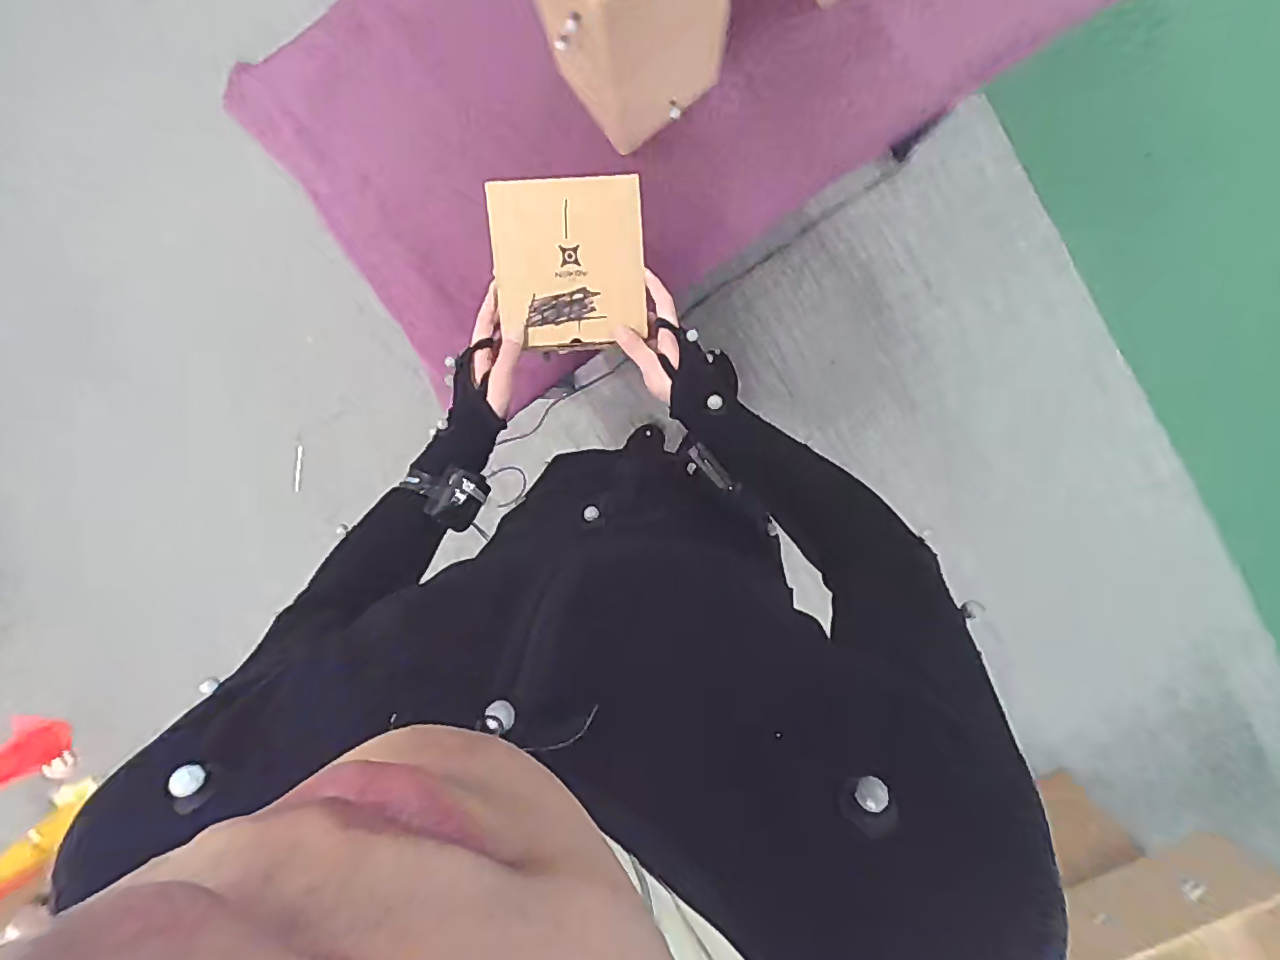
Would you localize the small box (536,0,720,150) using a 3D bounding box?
[{"bbox_3d":[-0.019,-0.594,0.719,0.179,0.176,0.168,-37,95,7],"label":"small box"}]

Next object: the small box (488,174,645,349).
[{"bbox_3d":[-0.080,-0.253,0.666,0.168,0.176,0.179,-3,101,-3],"label":"small box"}]
